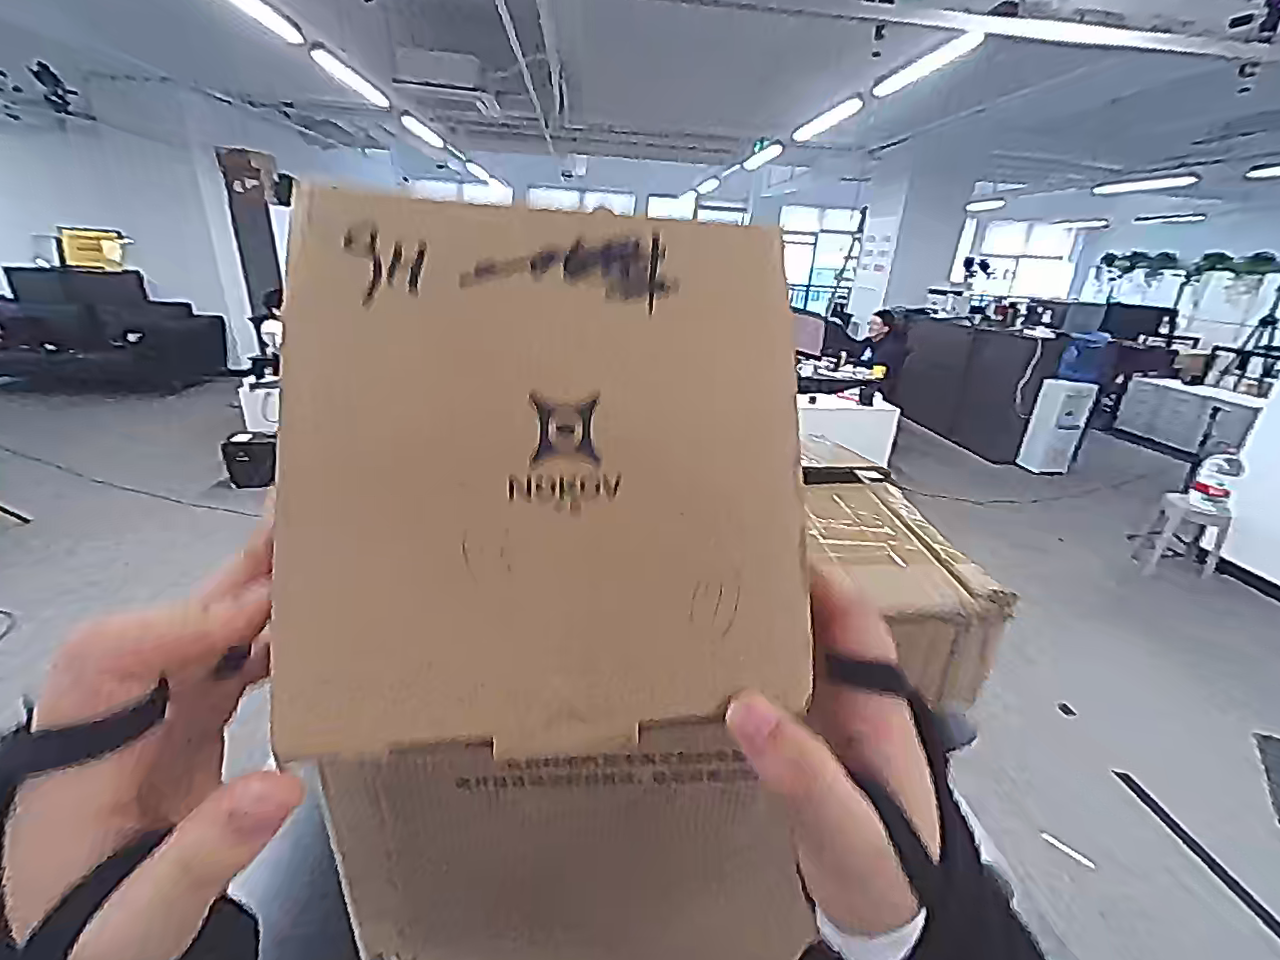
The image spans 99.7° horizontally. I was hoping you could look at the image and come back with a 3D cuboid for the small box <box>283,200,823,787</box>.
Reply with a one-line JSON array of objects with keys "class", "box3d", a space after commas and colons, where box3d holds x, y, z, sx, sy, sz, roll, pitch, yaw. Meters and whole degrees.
[{"class": "small box", "box3d": [-0.035, 0.007, 0.250, 0.168, 0.179, 0.176, -1, -6, -11]}]
